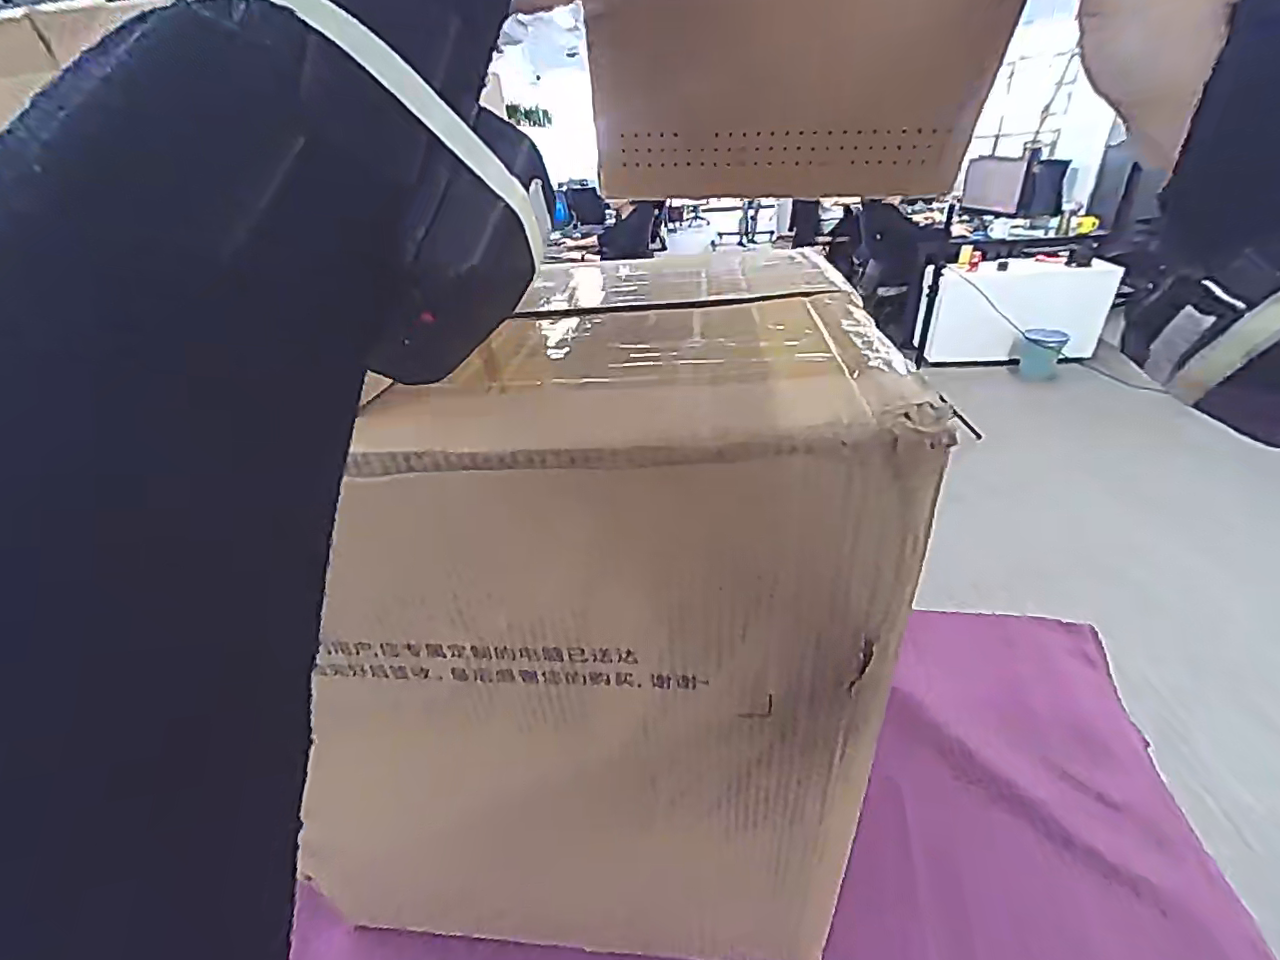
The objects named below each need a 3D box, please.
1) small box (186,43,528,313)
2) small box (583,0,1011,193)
[{"bbox_3d":[-0.210,-0.246,0.461,0.179,0.176,0.168,-1,32,5],"label":"small box"},{"bbox_3d":[0.071,-0.256,0.257,0.179,0.176,0.168,3,52,7],"label":"small box"}]
